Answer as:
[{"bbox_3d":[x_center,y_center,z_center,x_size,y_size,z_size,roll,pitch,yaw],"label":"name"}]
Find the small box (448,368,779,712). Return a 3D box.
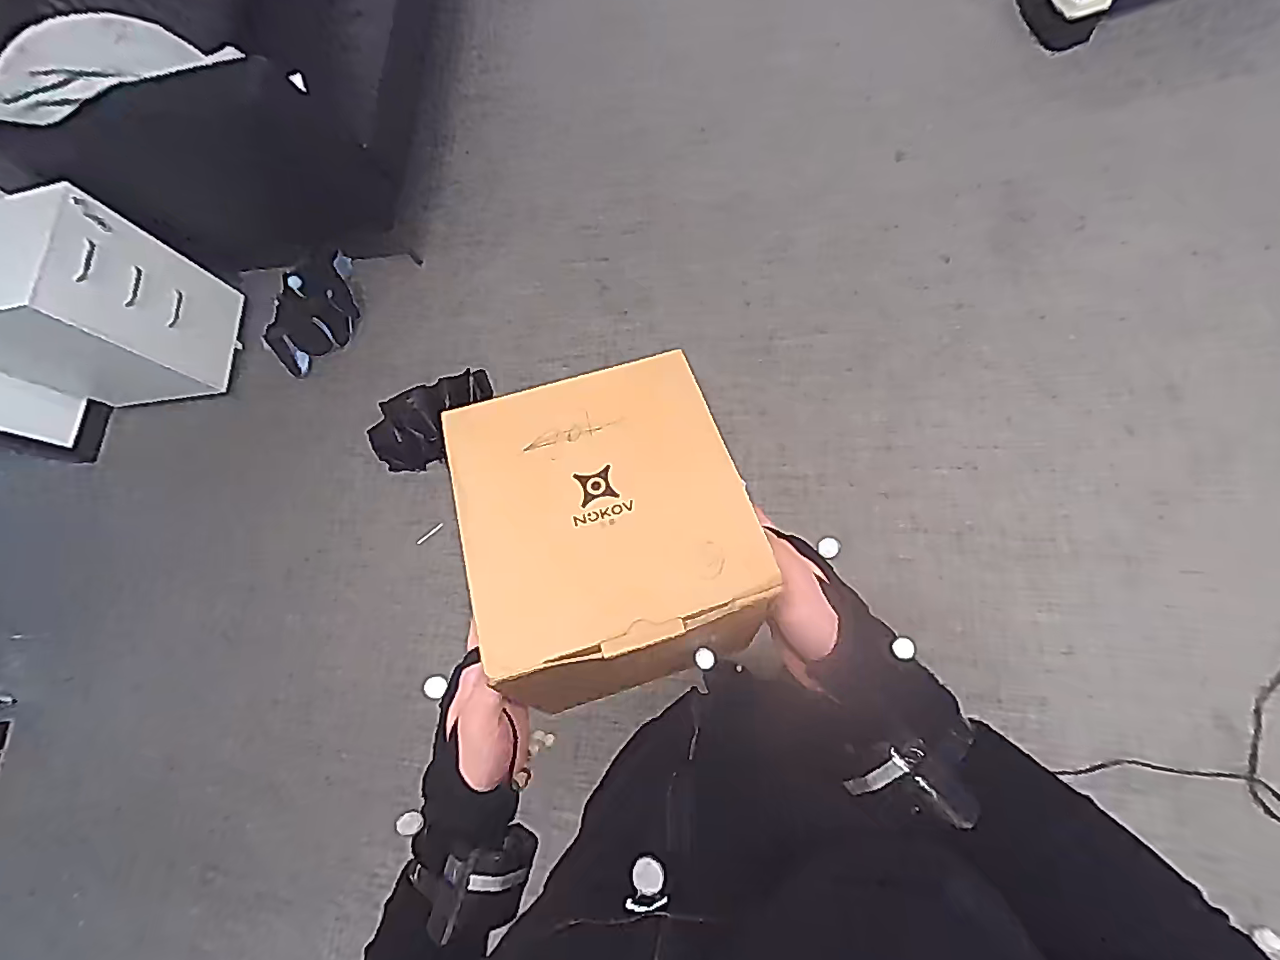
[{"bbox_3d":[-0.020,0.055,0.392,0.168,0.176,0.179,-16,61,-7],"label":"small box"}]
